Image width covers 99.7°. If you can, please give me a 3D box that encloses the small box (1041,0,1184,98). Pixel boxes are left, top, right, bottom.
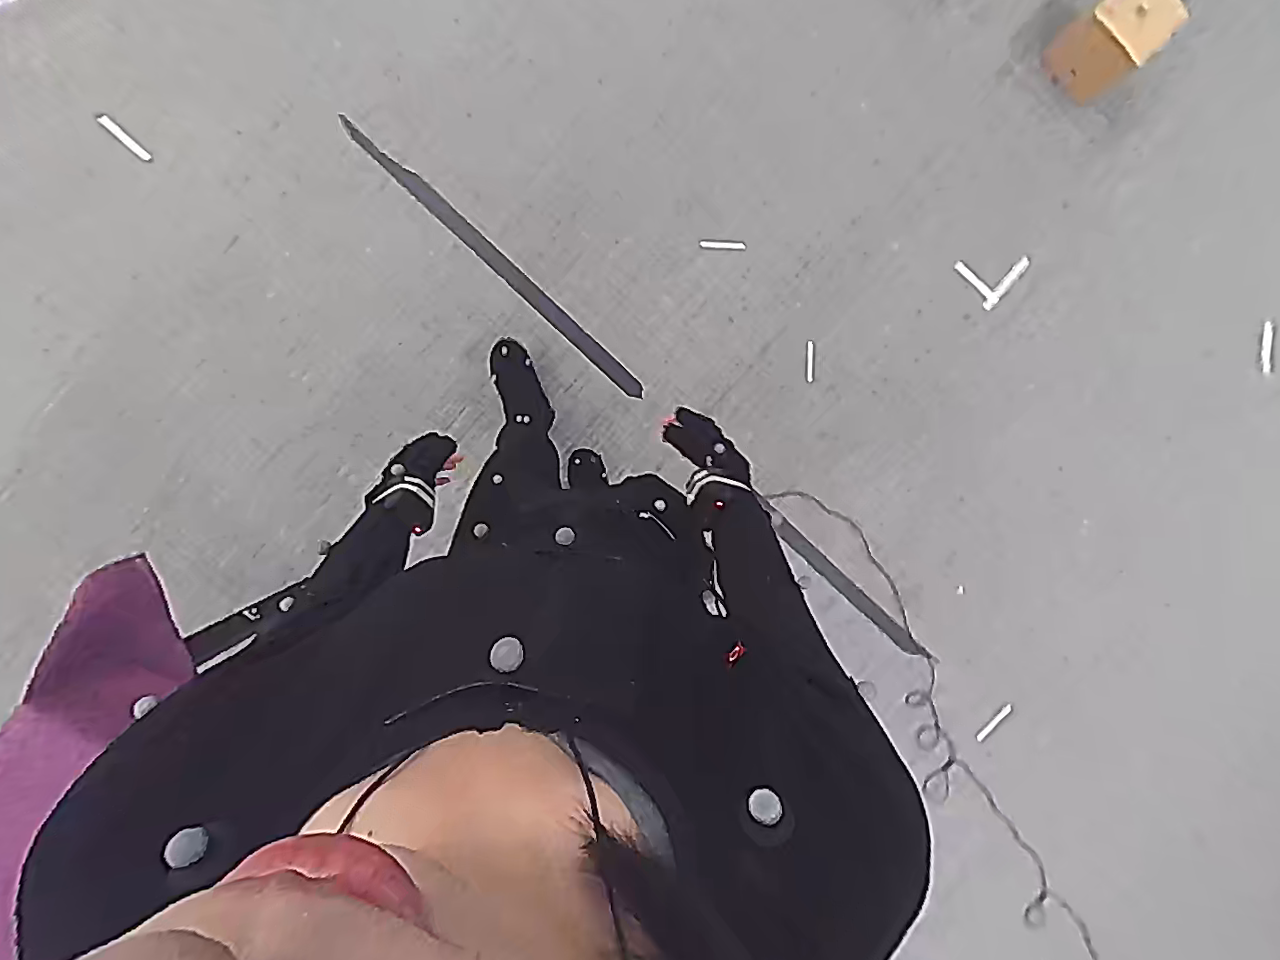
[{"bbox_3d":[1.180,-1.114,1.364,0.179,0.176,0.168,44,93,-6],"label":"small box"}]
